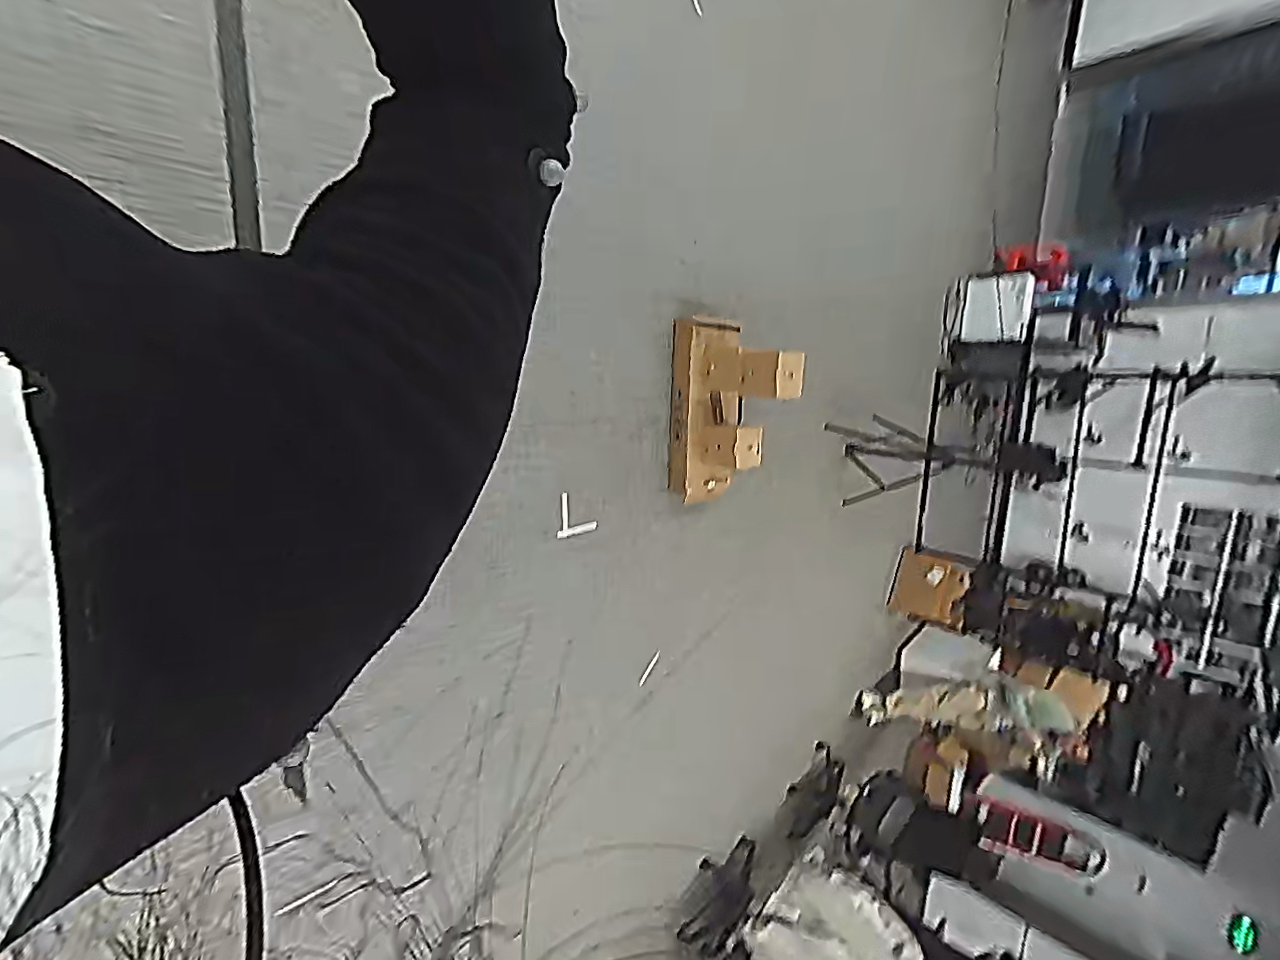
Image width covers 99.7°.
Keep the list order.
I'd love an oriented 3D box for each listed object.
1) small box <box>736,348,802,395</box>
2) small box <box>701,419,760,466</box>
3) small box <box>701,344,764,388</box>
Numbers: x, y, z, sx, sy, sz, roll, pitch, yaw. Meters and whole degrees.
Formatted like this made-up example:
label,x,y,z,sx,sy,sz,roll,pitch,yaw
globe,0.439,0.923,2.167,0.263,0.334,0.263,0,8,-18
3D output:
label,x,y,z,sx,sy,sz,roll,pitch,yaw
small box,0.480,-0.404,2.014,0.179,0.176,0.168,-8,105,-43
small box,0.364,-0.155,2.188,0.179,0.176,0.168,-10,106,-42
small box,0.362,-0.448,2.123,0.179,0.176,0.168,-10,106,-42
